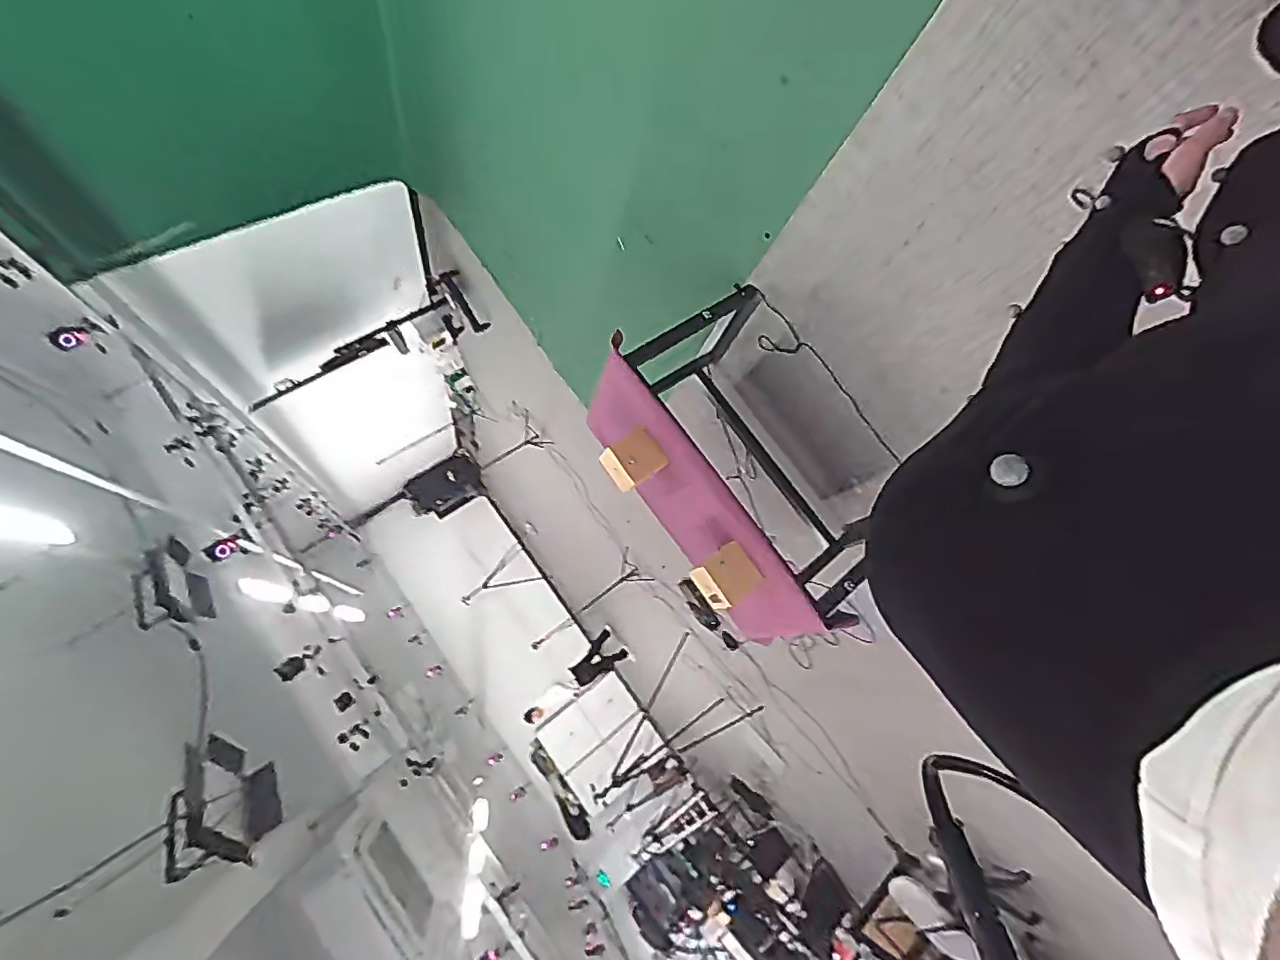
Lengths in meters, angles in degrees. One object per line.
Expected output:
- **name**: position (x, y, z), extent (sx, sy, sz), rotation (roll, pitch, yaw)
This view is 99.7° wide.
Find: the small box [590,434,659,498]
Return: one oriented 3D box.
- **small box**: position (-0.060, -0.059, 2.081), extent (0.179, 0.176, 0.168), rotation (54, 156, 1)
